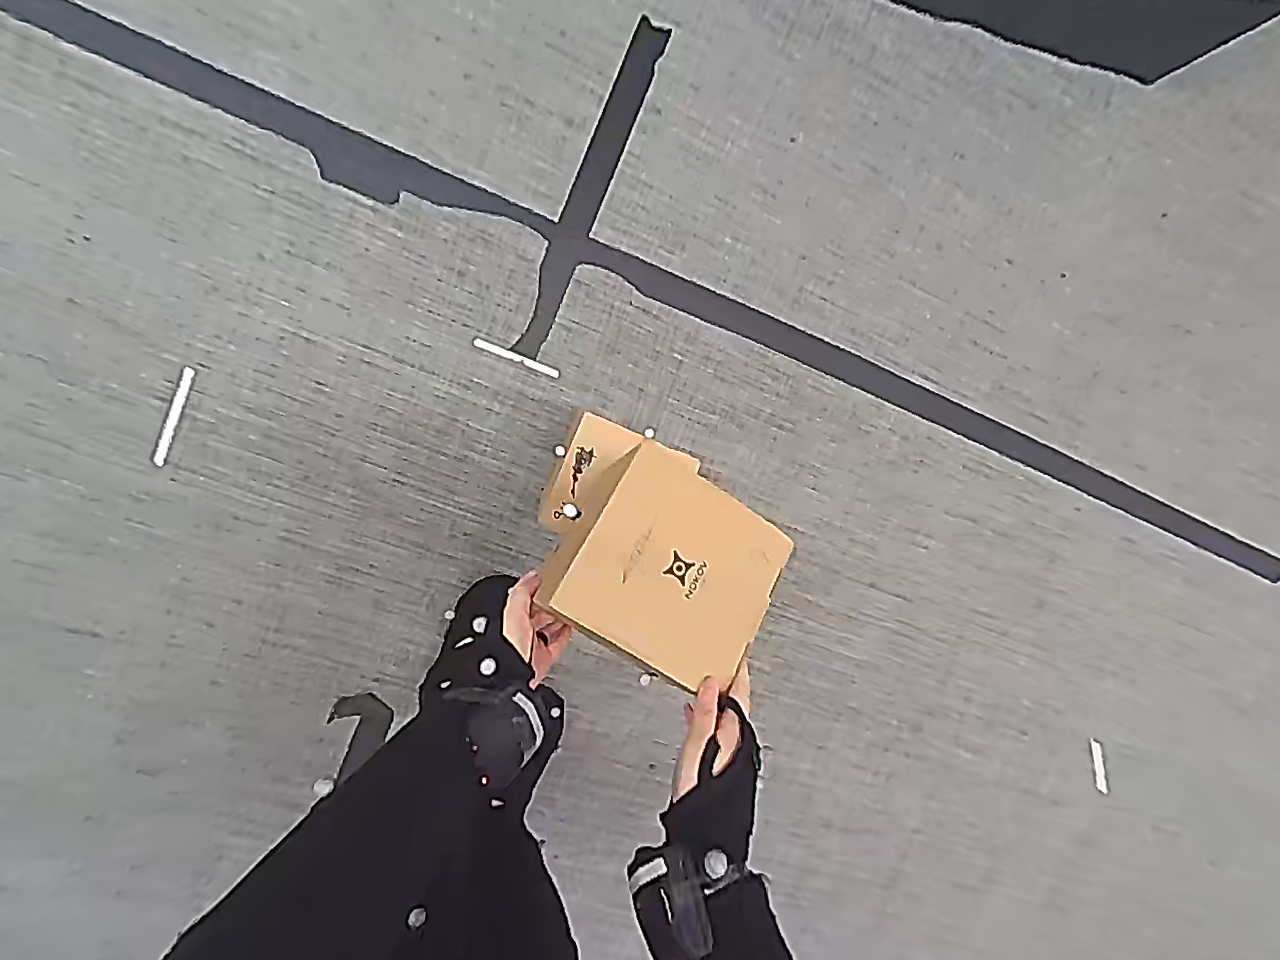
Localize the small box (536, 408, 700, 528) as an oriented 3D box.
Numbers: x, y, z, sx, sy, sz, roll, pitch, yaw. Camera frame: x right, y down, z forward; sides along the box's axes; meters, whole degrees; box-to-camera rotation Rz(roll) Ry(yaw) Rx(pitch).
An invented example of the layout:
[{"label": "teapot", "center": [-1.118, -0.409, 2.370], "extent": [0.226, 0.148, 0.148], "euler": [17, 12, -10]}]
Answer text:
[{"label": "small box", "center": [-0.040, -0.001, 0.797], "extent": [0.179, 0.176, 0.168], "euler": [24, 95, -13]}]

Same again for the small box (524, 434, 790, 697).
[{"label": "small box", "center": [0.007, 0.083, 0.537], "extent": [0.179, 0.176, 0.168], "euler": [34, 71, -10]}]
